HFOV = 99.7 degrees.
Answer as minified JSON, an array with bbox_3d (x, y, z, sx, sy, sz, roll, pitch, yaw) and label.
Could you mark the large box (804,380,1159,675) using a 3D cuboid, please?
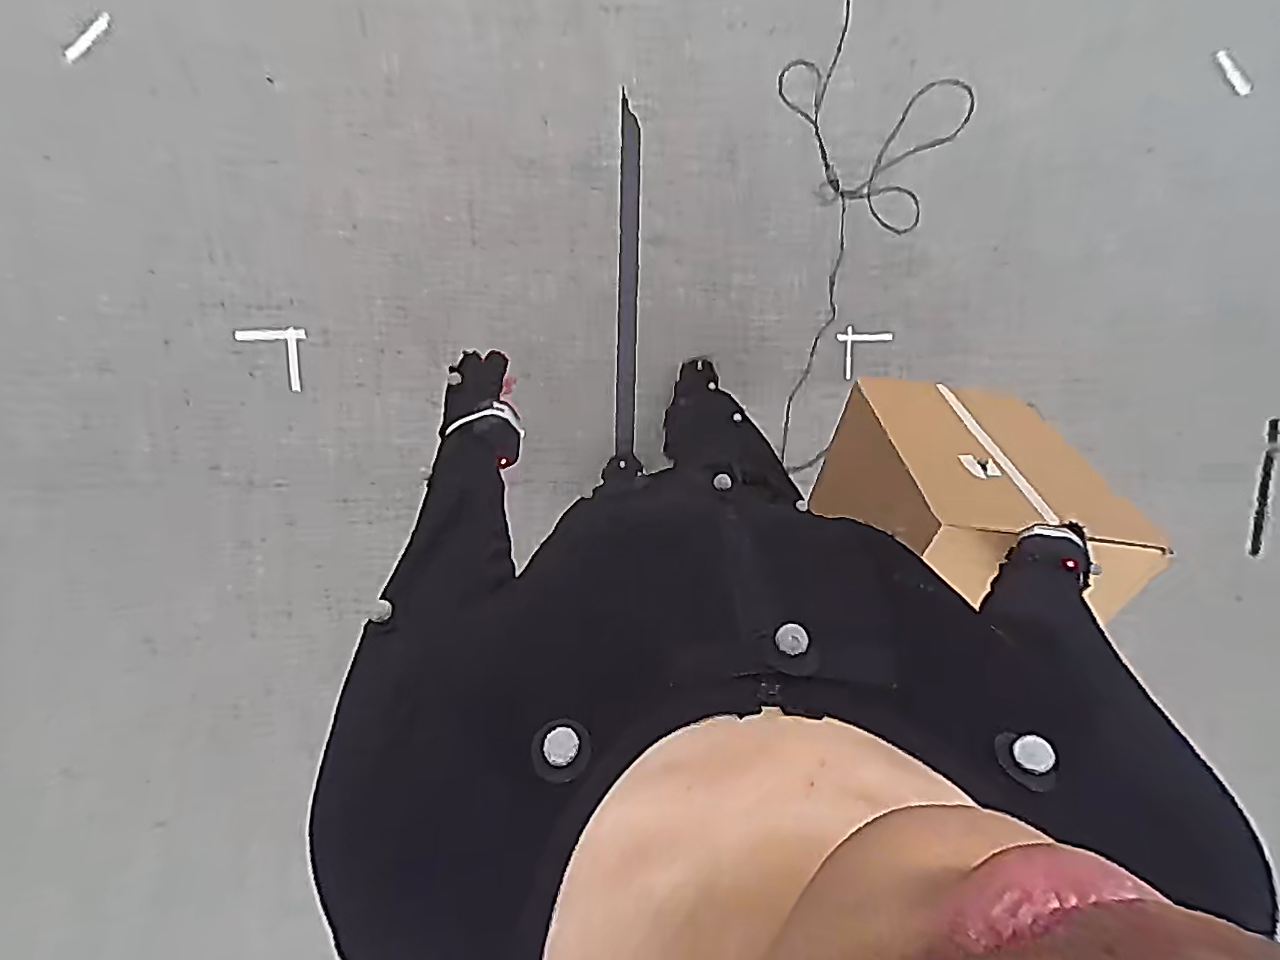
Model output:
[{"bbox_3d":[0.524,0.071,0.952,0.320,0.408,0.320,6,128,-3],"label":"large box"}]
